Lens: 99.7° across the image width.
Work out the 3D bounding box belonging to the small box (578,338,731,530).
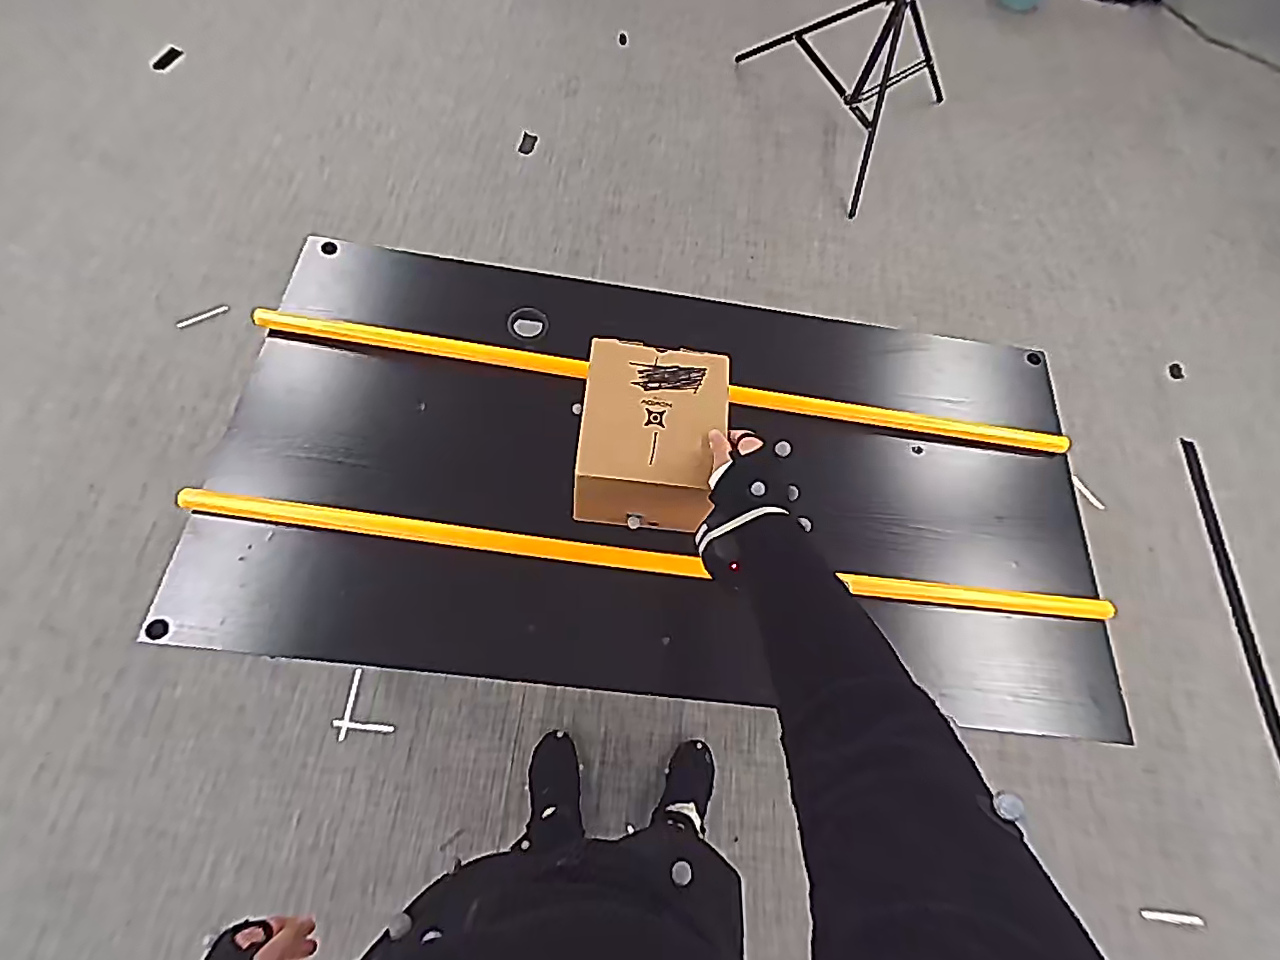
[{"bbox_3d":[0.012,-0.049,0.684,0.168,0.176,0.179,7,69,-4],"label":"small box"}]
